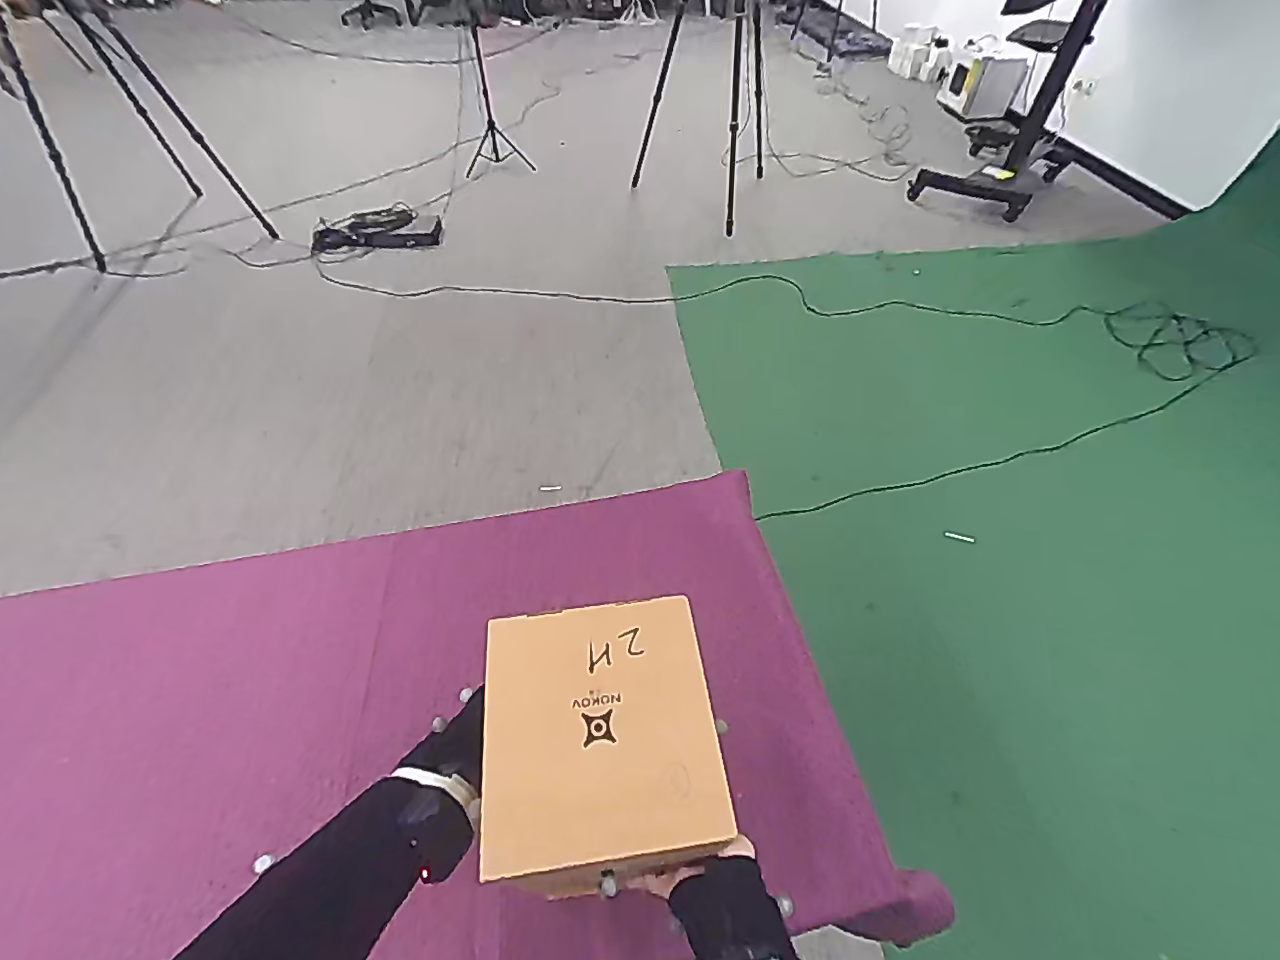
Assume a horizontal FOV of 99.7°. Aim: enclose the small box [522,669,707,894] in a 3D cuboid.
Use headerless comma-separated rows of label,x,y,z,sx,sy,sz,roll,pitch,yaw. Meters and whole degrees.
small box,-0.031,0.328,0.587,0.168,0.176,0.179,-5,51,-4
